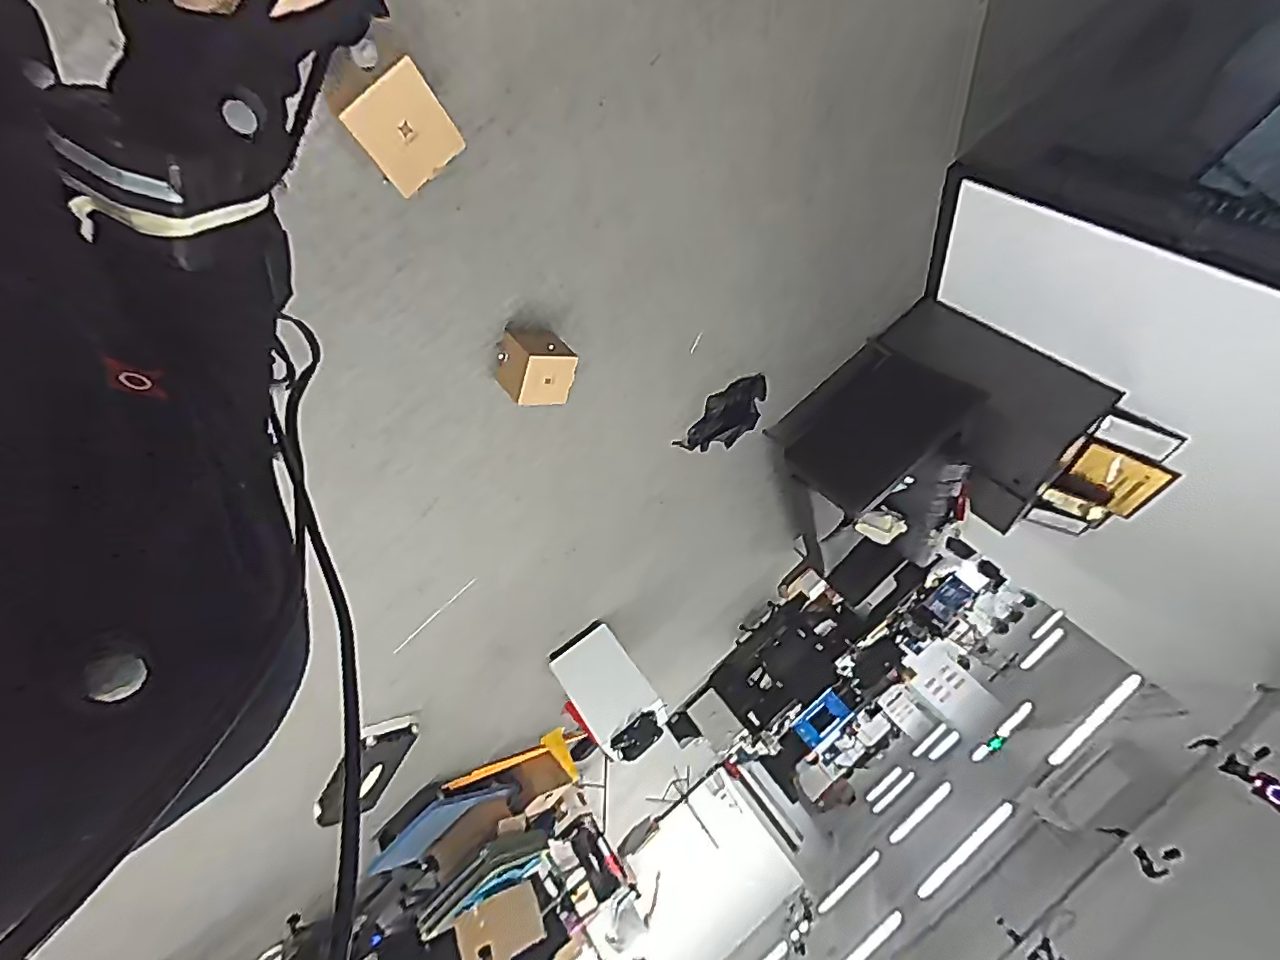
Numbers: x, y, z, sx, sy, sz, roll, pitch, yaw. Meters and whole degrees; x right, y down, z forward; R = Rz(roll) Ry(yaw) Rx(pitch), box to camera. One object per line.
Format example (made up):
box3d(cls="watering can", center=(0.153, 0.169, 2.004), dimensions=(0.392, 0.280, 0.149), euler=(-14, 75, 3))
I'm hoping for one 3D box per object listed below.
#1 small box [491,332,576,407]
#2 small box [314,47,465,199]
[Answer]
box3d(cls="small box", center=(-0.328, -0.338, 1.646), dimensions=(0.179, 0.176, 0.168), euler=(-10, 134, -42))
box3d(cls="small box", center=(-0.483, -0.691, 1.043), dimensions=(0.168, 0.176, 0.179), euler=(-43, 150, -2))
